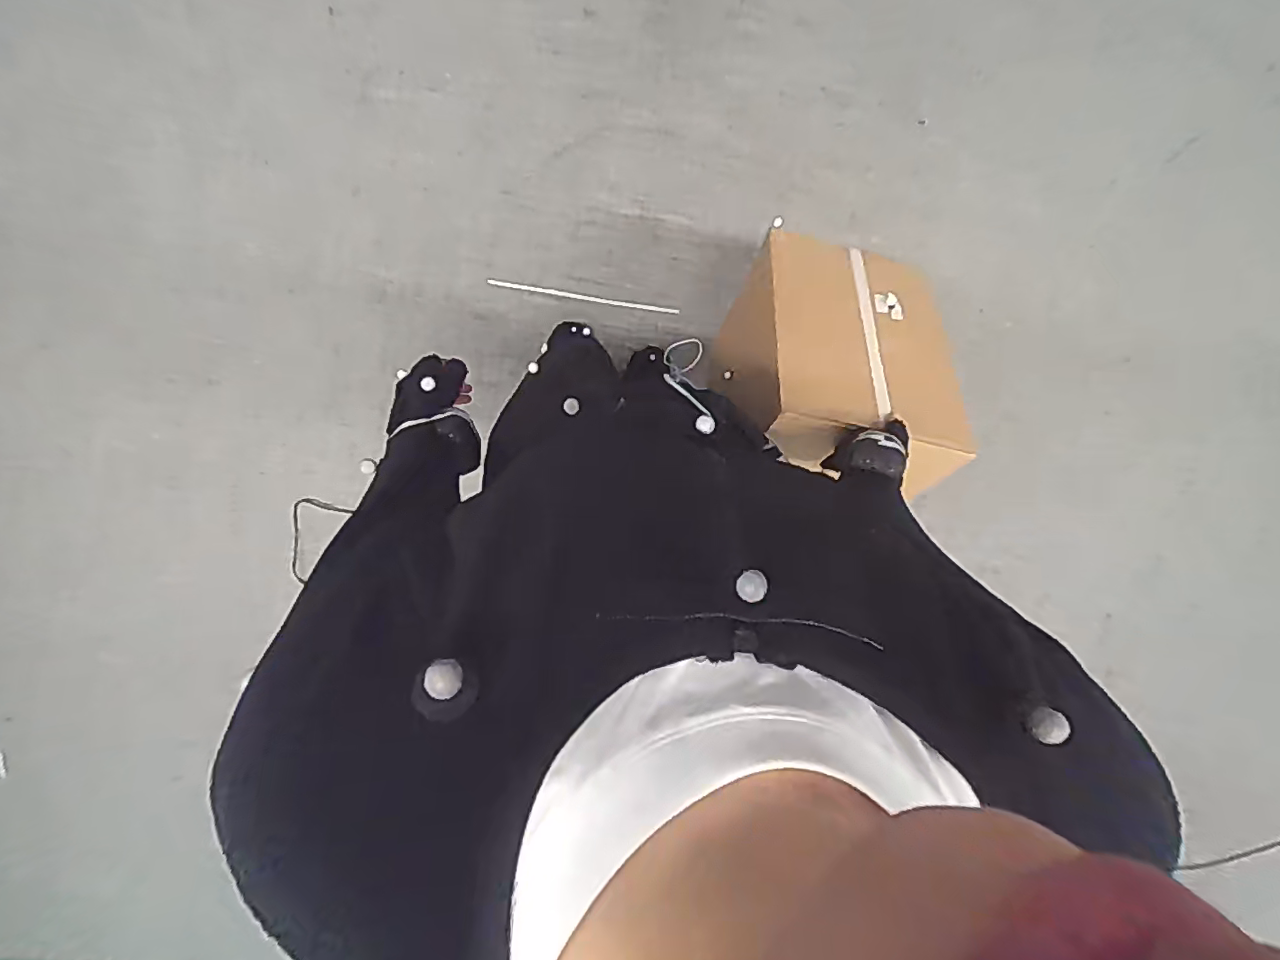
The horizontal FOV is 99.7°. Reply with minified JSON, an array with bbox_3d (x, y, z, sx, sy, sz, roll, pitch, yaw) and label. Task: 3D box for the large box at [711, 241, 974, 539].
[{"bbox_3d":[0.327,-0.149,0.993,0.320,0.408,0.320,13,149,-10],"label":"large box"}]
